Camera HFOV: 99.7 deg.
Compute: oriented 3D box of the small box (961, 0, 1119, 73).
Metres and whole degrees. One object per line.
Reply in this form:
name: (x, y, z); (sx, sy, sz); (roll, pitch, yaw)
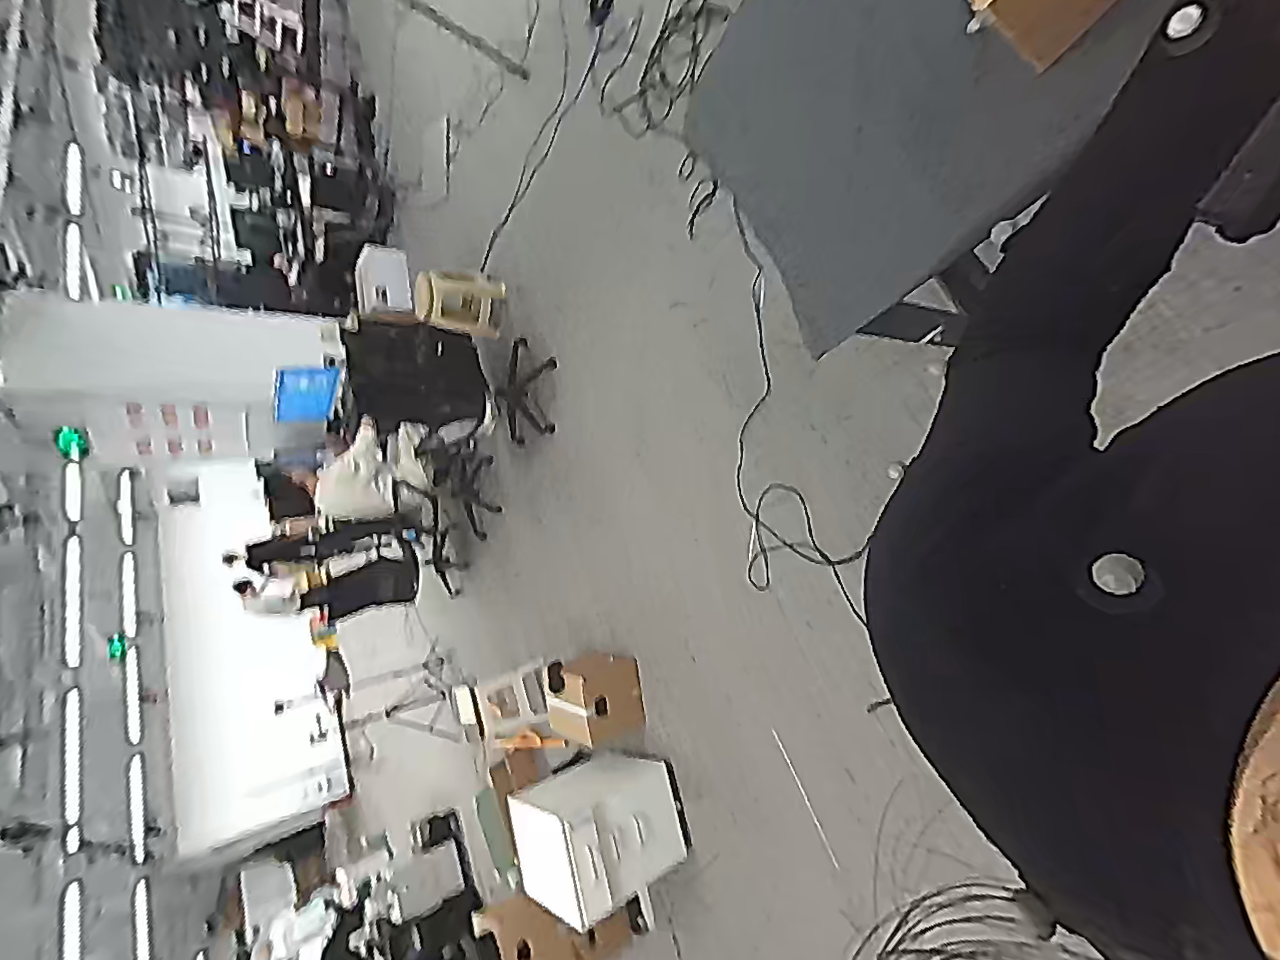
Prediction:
small box: (0.430, -0.585, 0.563); (0.179, 0.176, 0.168); (-44, 59, 47)
